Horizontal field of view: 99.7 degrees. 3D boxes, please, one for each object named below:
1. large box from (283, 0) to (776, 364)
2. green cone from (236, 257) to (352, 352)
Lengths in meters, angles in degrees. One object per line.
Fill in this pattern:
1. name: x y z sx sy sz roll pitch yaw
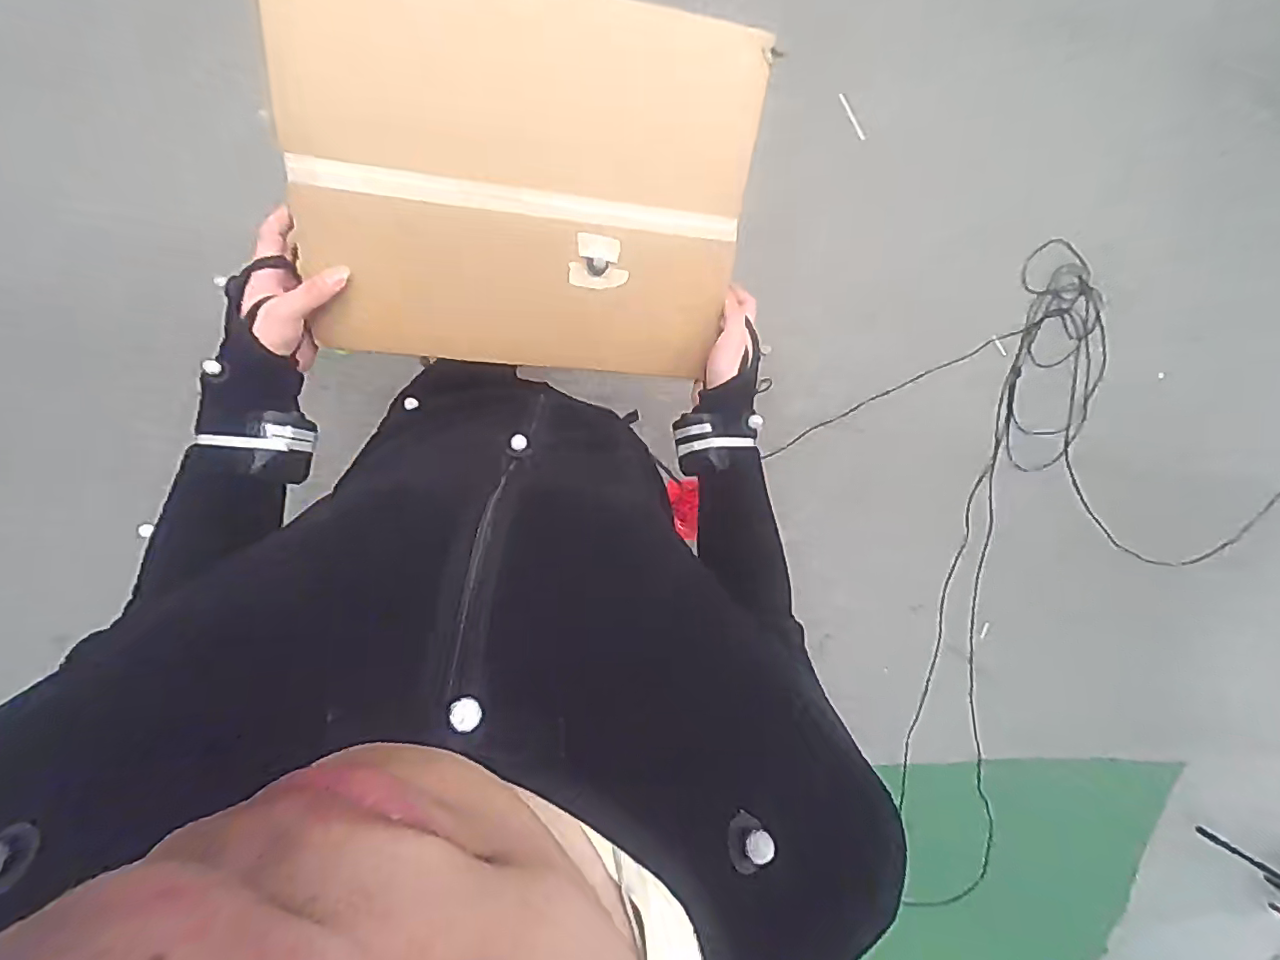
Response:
1. large box: -0.119 -0.340 0.629 0.408 0.320 0.320 2 120 -13
2. green cone: -0.798 -0.394 1.211 0.200 0.368 0.202 11 103 -15
